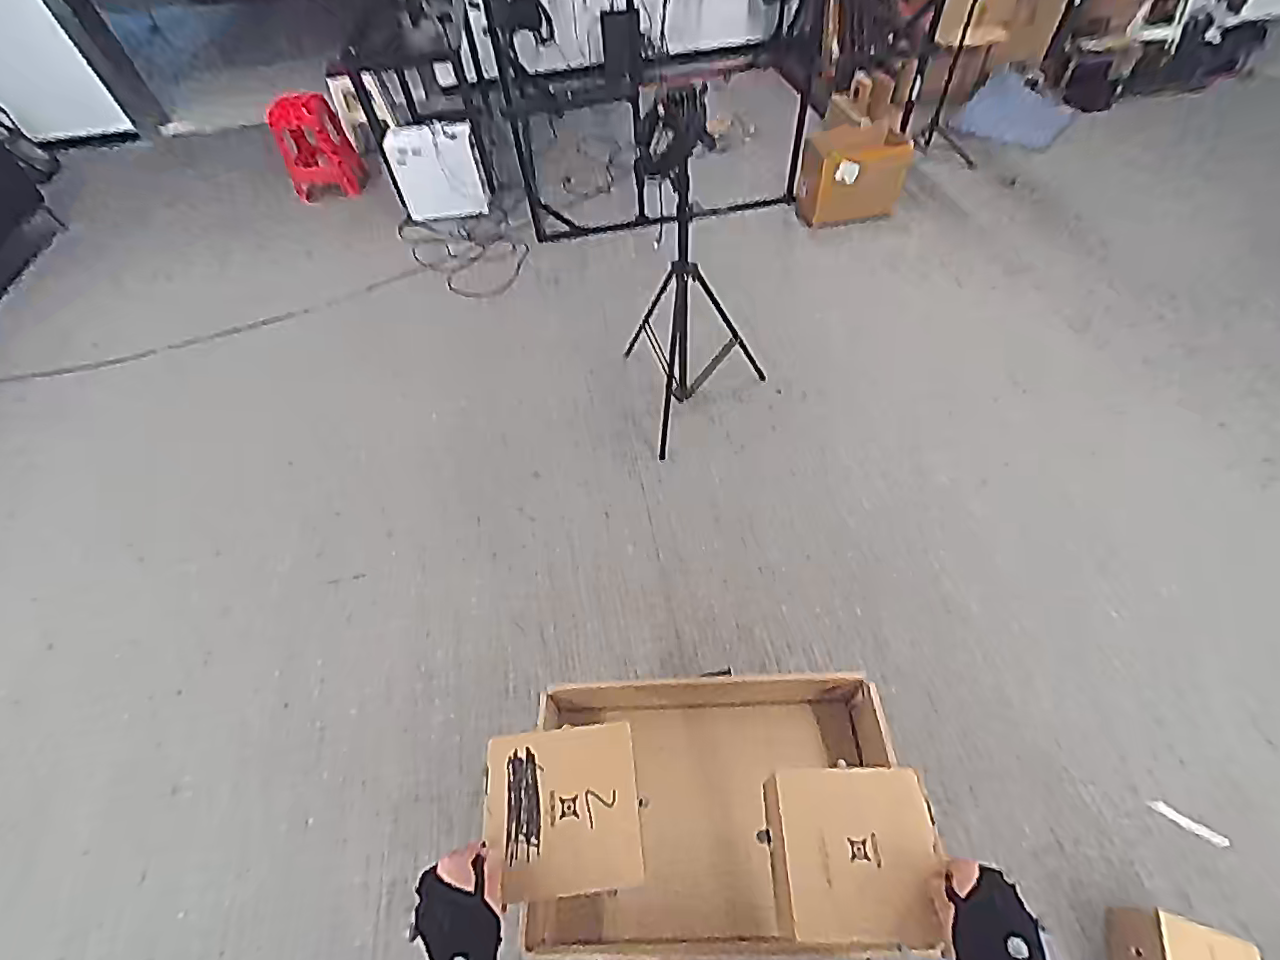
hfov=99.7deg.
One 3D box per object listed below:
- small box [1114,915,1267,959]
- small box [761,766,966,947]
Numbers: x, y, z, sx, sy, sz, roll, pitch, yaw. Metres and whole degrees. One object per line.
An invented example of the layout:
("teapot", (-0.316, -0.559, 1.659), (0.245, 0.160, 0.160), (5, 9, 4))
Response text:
("small box", (1.071, 0.985, 1.049), (0.168, 0.176, 0.179), (15, 55, 15))
("small box", (0.255, 0.458, 0.667), (0.179, 0.176, 0.168), (-2, 53, 3))
